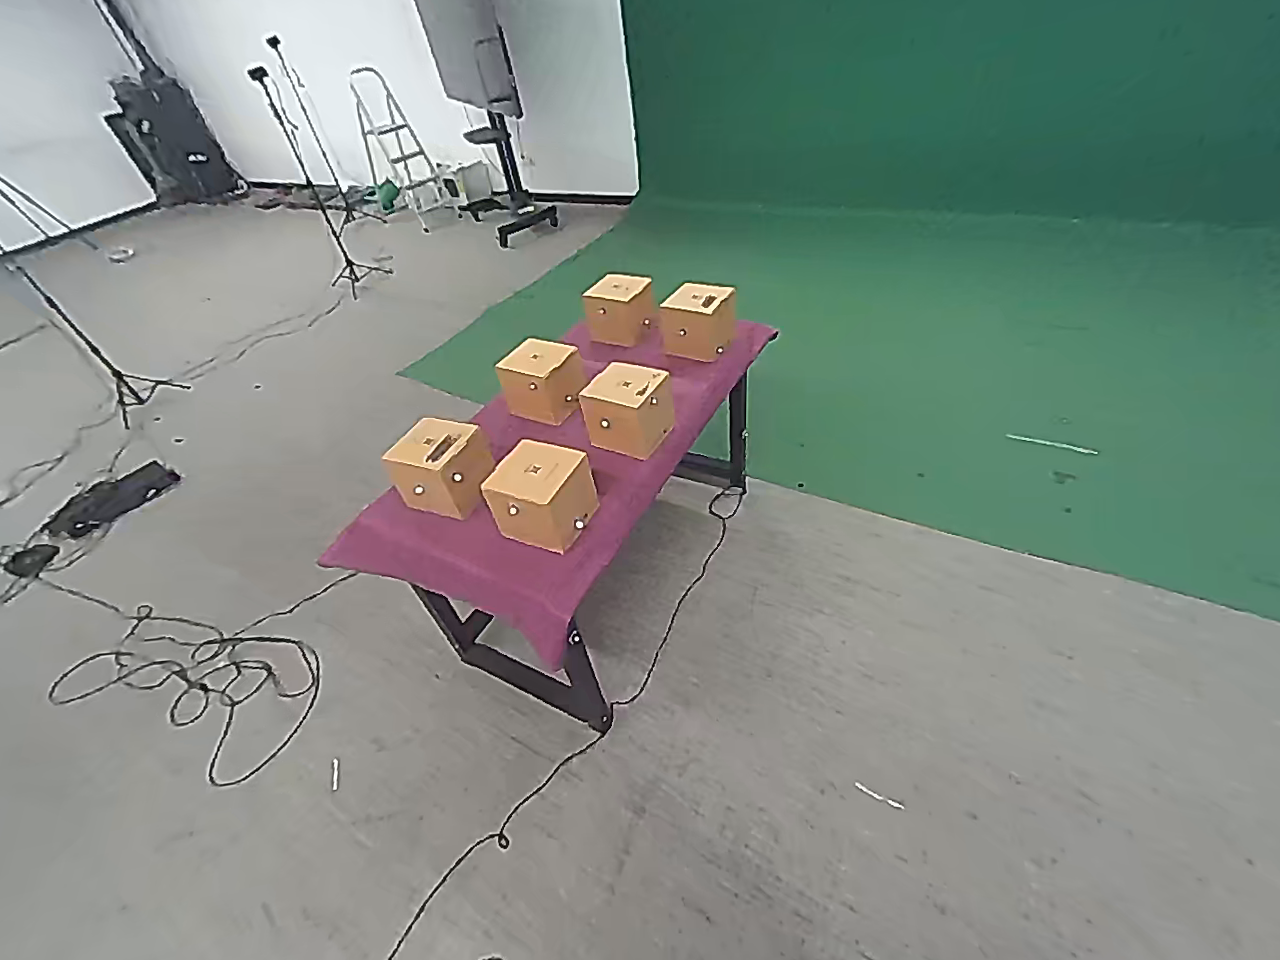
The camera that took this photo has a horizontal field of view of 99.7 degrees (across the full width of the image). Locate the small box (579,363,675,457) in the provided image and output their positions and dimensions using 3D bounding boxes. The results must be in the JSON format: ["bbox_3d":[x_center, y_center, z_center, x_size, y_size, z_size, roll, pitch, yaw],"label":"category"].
[{"bbox_3d":[-0.027,-0.180,1.400,0.179,0.176,0.168,17,50,27],"label":"small box"}]

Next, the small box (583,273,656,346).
[{"bbox_3d":[-0.063,-0.571,1.814,0.179,0.176,0.168,18,51,25],"label":"small box"}]

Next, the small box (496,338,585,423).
[{"bbox_3d":[-0.278,-0.285,1.557,0.179,0.176,0.168,17,49,24],"label":"small box"}]

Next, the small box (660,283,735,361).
[{"bbox_3d":[0.185,-0.491,1.686,0.179,0.176,0.168,19,51,29],"label":"small box"}]
